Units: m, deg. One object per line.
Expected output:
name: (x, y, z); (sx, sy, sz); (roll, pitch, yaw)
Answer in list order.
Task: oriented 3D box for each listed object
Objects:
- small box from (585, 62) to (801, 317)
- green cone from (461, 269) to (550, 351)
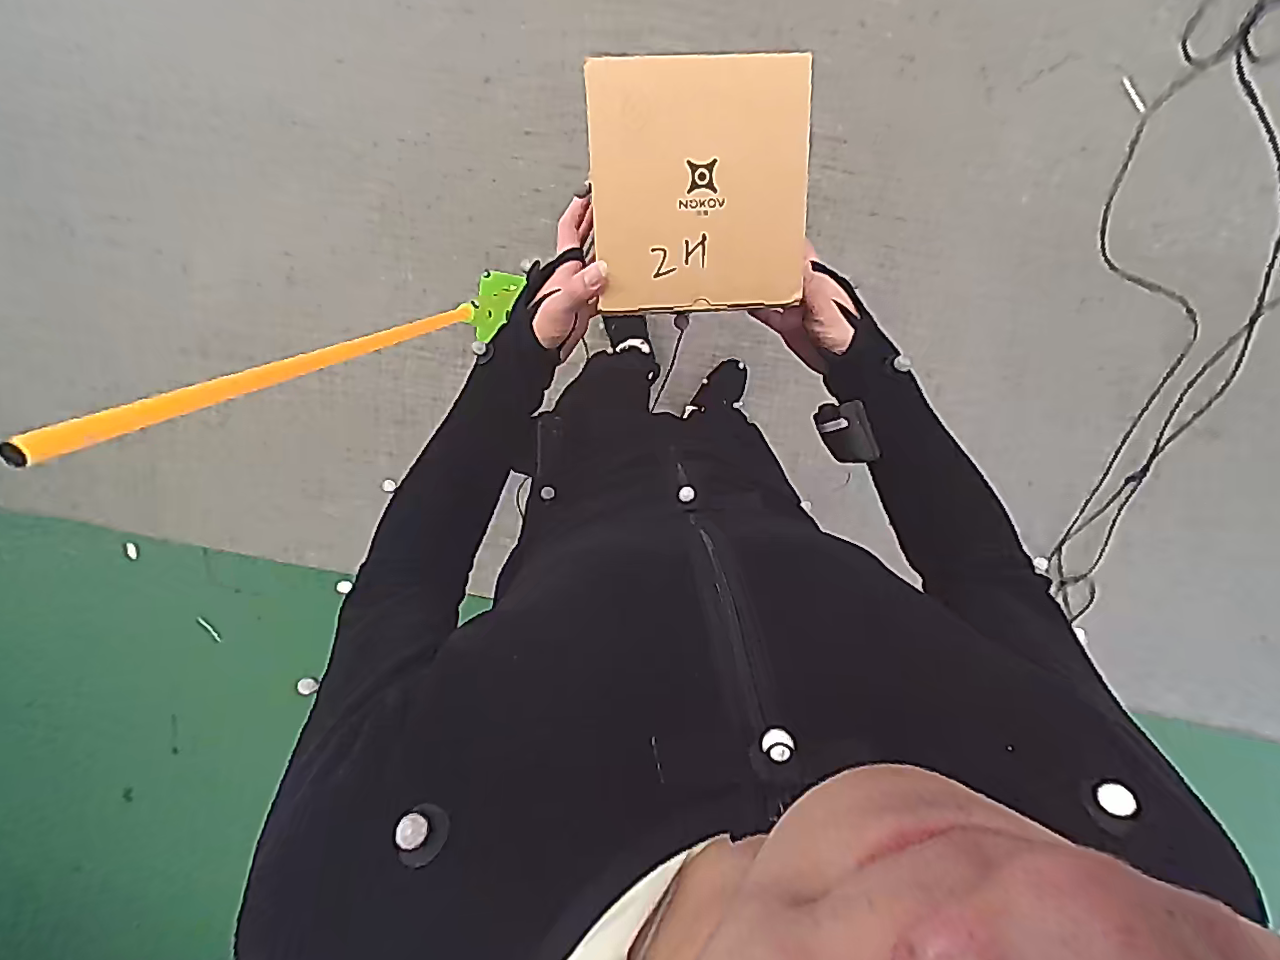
small box: (0.036, -0.244, 0.497); (0.168, 0.176, 0.179); (-2, 106, -2)
green cone: (-0.374, -0.426, 1.373); (0.202, 0.368, 0.200); (11, 109, 0)
